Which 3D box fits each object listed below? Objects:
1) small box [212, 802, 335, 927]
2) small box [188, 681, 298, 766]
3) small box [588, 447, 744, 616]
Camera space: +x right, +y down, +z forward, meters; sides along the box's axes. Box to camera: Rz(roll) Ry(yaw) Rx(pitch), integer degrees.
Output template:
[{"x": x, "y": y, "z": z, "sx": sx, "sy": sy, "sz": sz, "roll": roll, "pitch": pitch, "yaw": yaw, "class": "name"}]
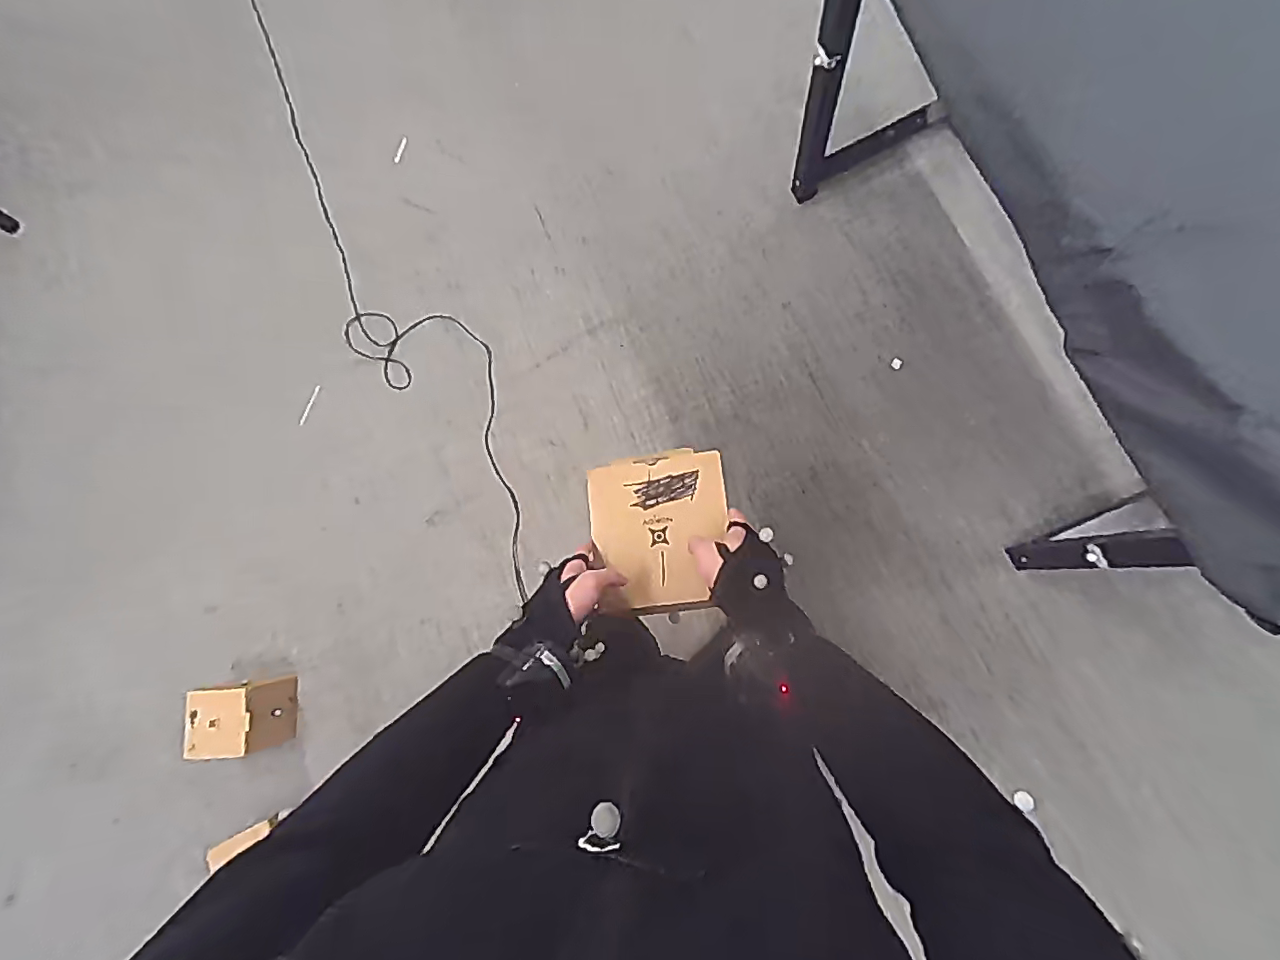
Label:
[{"x": -0.909, "y": 0.955, "z": 1.362, "sx": 0.179, "sy": 0.176, "sz": 0.168, "roll": -32, "pitch": 77, "yaw": 4, "class": "small box"}, {"x": -1.040, "y": 0.637, "z": 1.429, "sx": 0.179, "sy": 0.176, "sz": 0.168, "roll": -6, "pitch": 81, "yaw": 7, "class": "small box"}, {"x": 0.038, "y": 0.076, "z": 0.697, "sx": 0.168, "sy": 0.176, "sz": 0.179, "roll": -10, "pitch": 73, "yaw": 9, "class": "small box"}]
